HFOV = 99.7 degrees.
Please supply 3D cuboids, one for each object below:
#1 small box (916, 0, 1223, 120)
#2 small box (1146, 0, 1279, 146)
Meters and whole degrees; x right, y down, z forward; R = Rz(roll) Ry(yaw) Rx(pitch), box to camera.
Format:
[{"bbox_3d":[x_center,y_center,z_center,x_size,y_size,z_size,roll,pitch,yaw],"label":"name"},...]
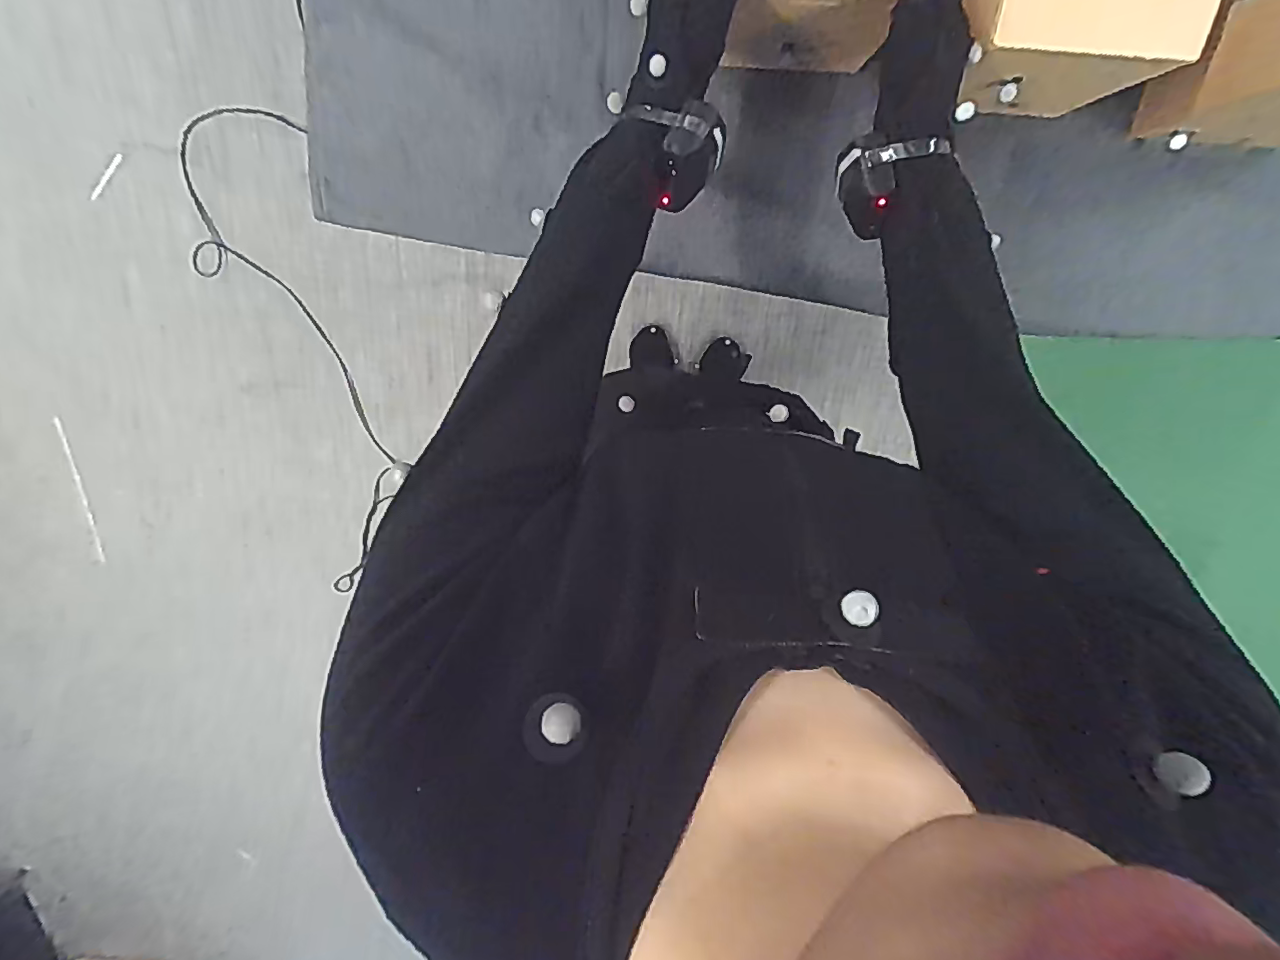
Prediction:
[{"bbox_3d":[0.369,-0.440,0.473,0.168,0.176,0.179,5,109,1],"label":"small box"},{"bbox_3d":[0.608,-0.409,0.469,0.168,0.176,0.179,4,109,1],"label":"small box"}]
